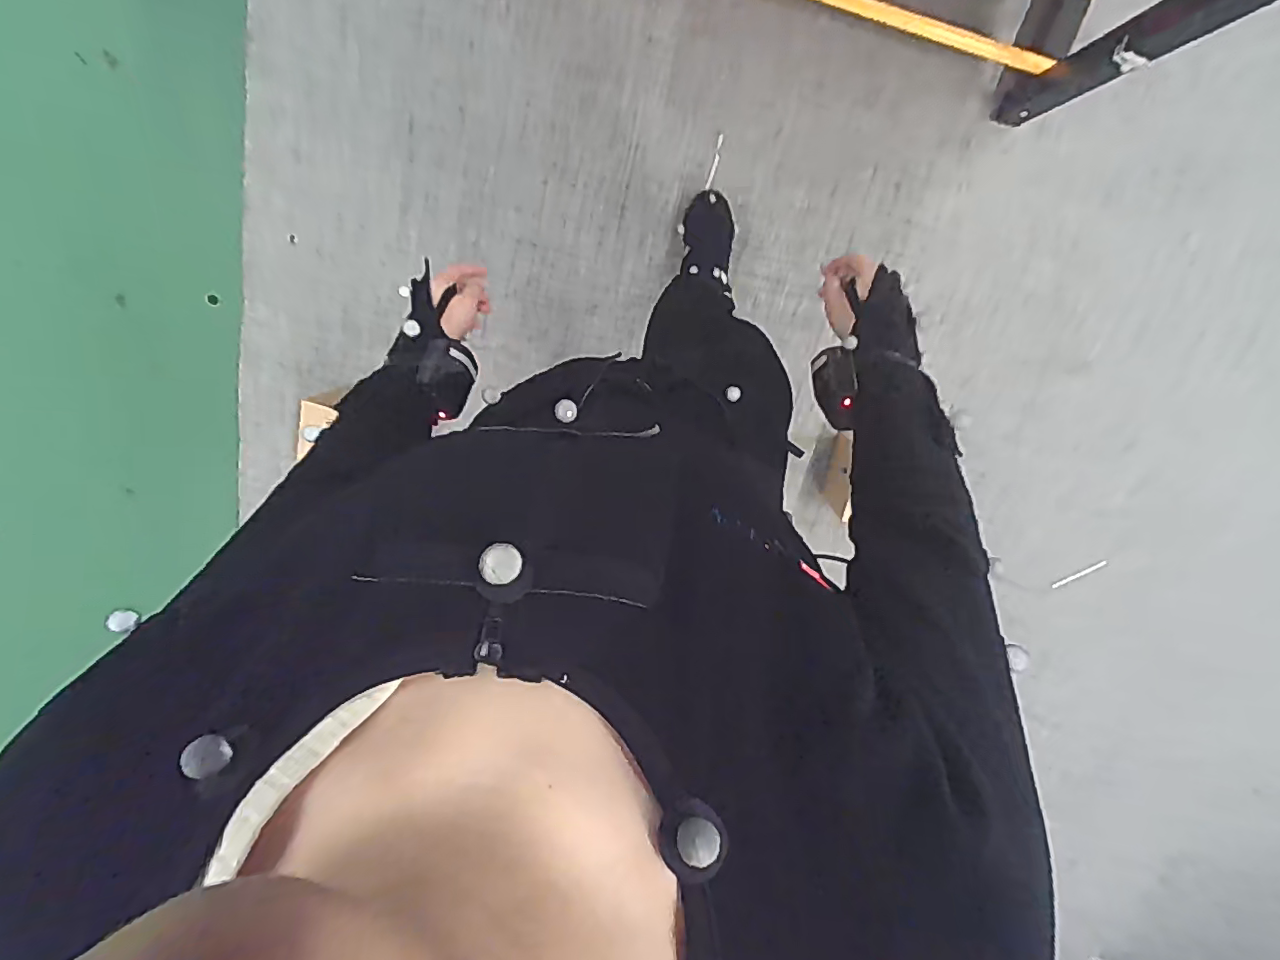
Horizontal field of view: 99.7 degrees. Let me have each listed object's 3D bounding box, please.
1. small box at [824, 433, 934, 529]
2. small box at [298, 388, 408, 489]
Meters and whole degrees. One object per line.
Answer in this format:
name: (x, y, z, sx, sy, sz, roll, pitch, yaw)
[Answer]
small box: (0.556, -0.005, 1.285, 0.168, 0.176, 0.179, 9, 108, -2)
small box: (-0.672, -0.106, 1.282, 0.168, 0.176, 0.179, 17, 109, -4)
